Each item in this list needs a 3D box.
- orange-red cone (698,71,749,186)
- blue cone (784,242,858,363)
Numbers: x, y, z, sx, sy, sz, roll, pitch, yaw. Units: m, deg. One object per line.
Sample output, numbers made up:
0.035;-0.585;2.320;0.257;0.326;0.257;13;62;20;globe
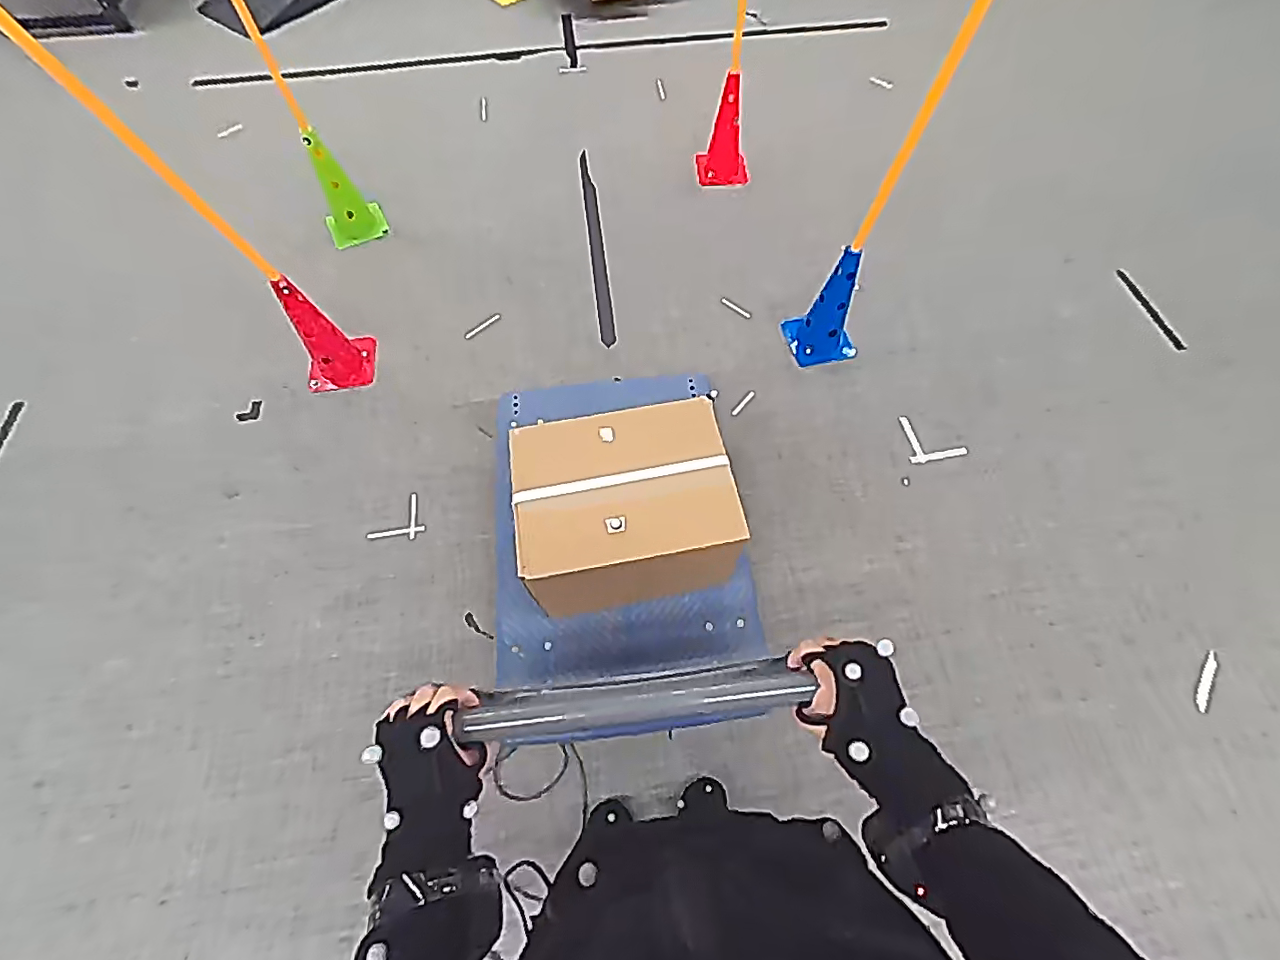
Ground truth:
0.336;-1.329;2.031;0.199;0.360;0.198;-1;63;-1;orange-red cone
0.587;-0.544;1.642;0.193;0.380;0.192;-11;62;-5;blue cone
